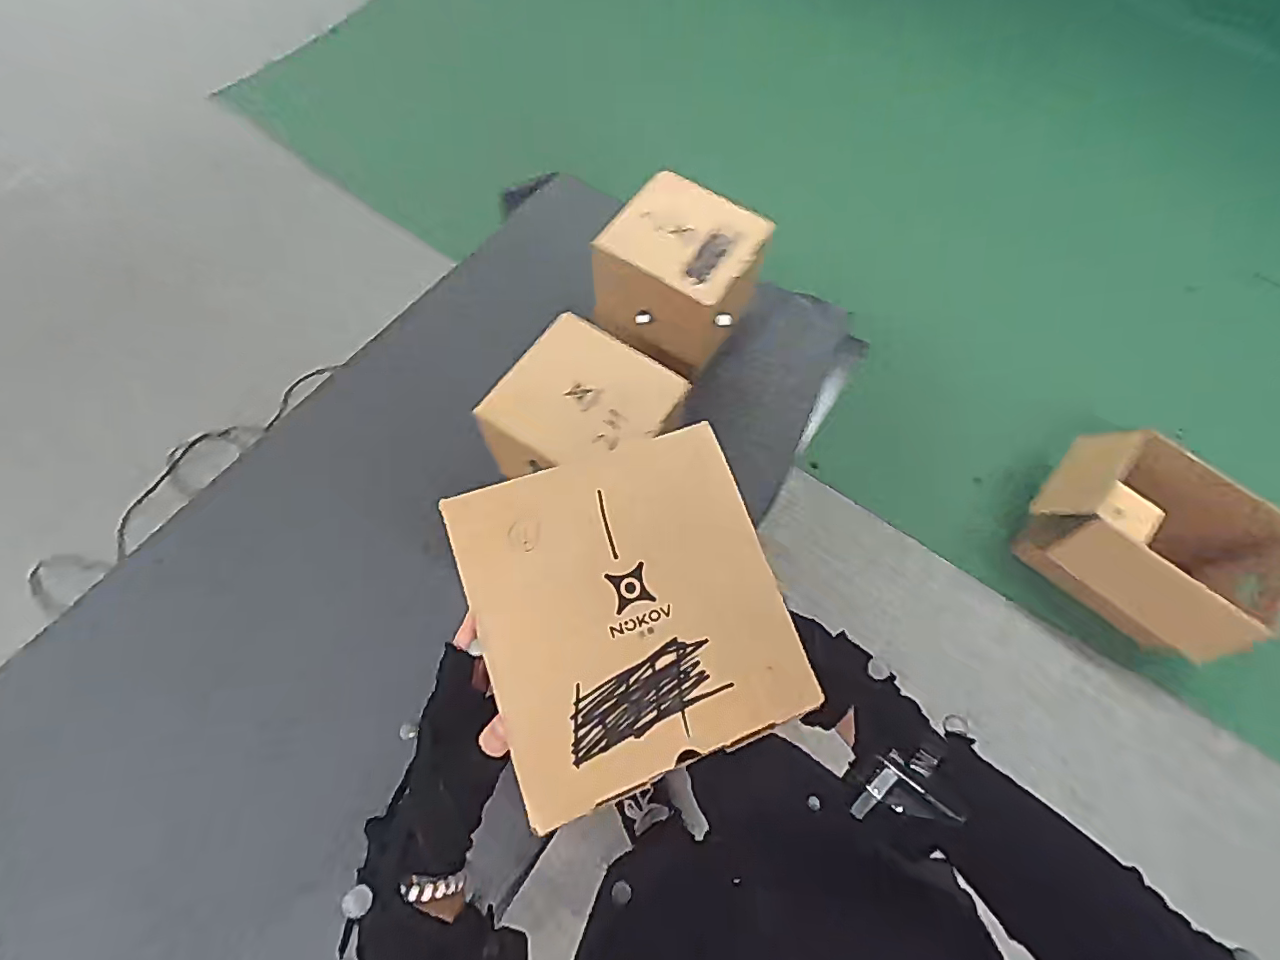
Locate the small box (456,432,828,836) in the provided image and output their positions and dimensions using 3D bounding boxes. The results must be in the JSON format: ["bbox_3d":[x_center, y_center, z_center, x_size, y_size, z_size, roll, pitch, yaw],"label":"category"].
[{"bbox_3d":[-0.010,0.092,0.369,0.168,0.176,0.179,-16,77,-14],"label":"small box"}]

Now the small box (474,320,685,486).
[{"bbox_3d":[-0.068,-0.052,0.663,0.179,0.176,0.168,32,70,10],"label":"small box"}]
